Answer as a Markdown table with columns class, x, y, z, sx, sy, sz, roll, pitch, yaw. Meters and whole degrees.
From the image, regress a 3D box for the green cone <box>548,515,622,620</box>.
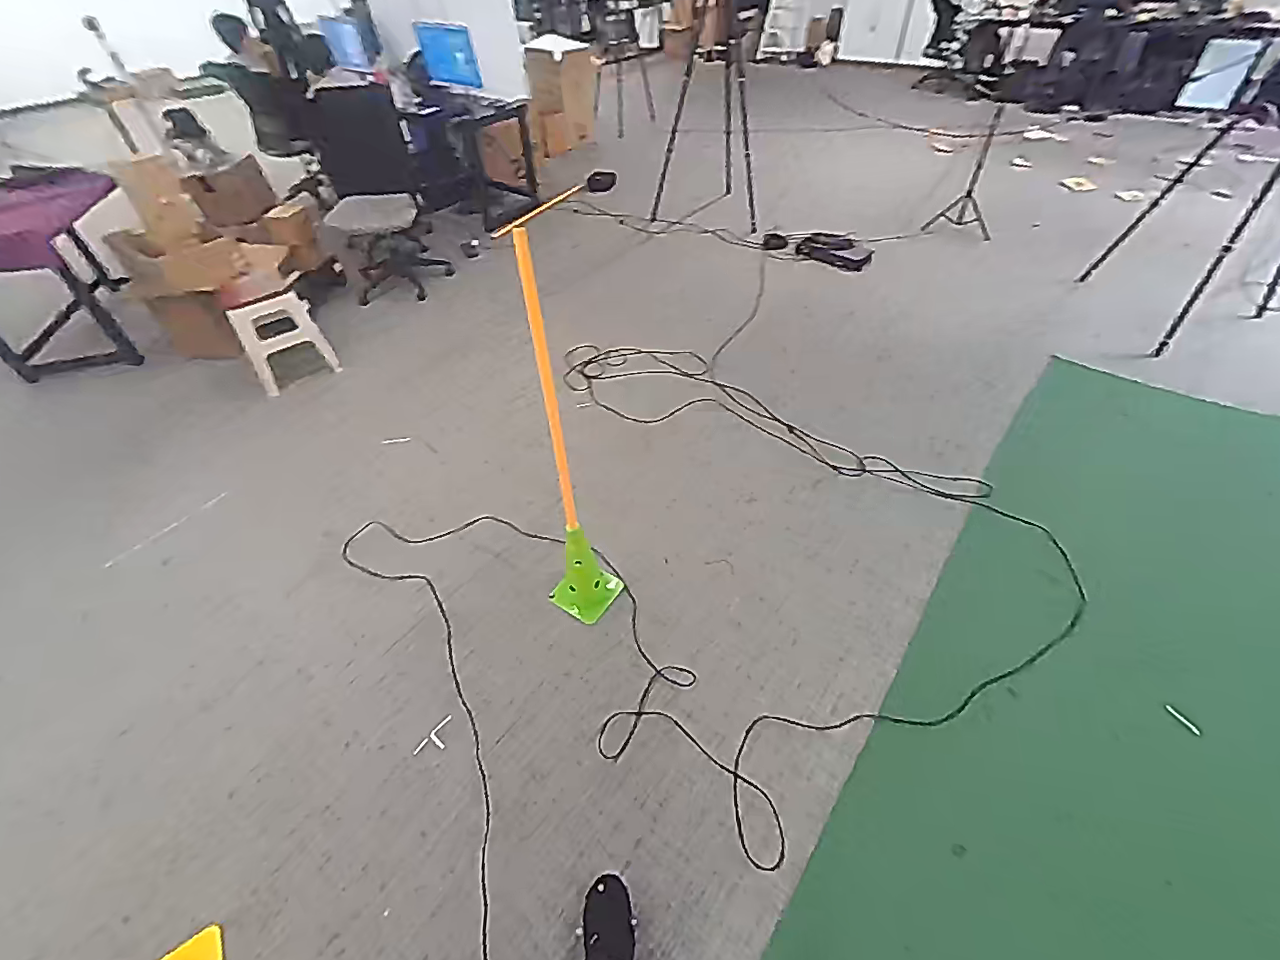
| class | x | y | z | sx | sy | sz | roll | pitch | yaw |
| --- | --- | --- | --- | --- | --- | --- | --- | --- | --- |
| green cone | -0.194 | 0.250 | 1.745 | 0.200 | 0.368 | 0.202 | 25 | 51 | 24 |
